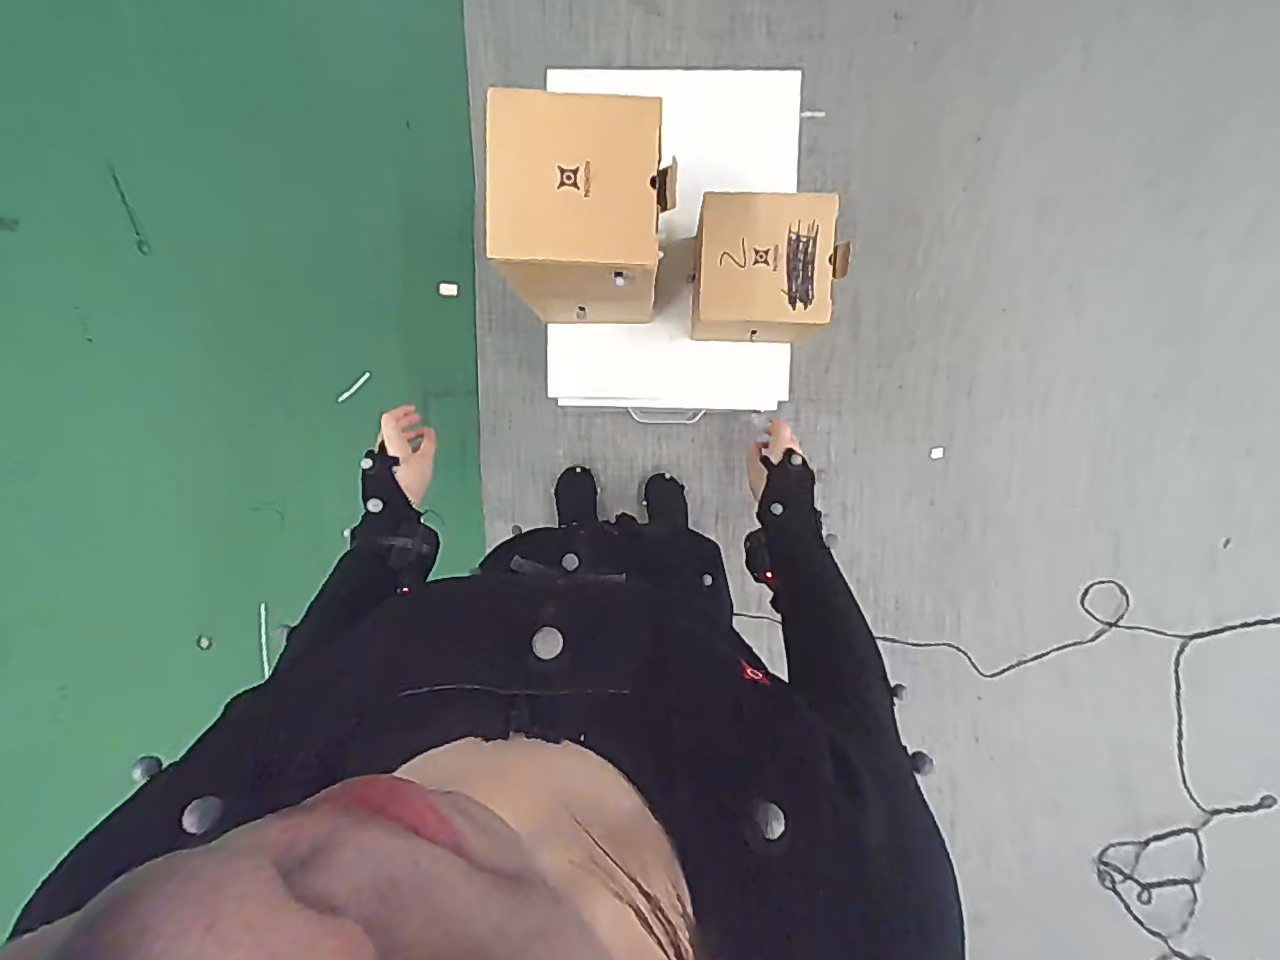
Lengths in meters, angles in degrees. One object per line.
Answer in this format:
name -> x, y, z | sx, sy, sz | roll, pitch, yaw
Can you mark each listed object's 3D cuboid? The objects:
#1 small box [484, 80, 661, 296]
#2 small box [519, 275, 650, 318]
small box -> -0.070, -0.318, 0.622 | 0.179, 0.176, 0.168 | 1, 95, -3
small box -> -0.073, -0.335, 0.785 | 0.179, 0.176, 0.168 | 0, 95, 0
